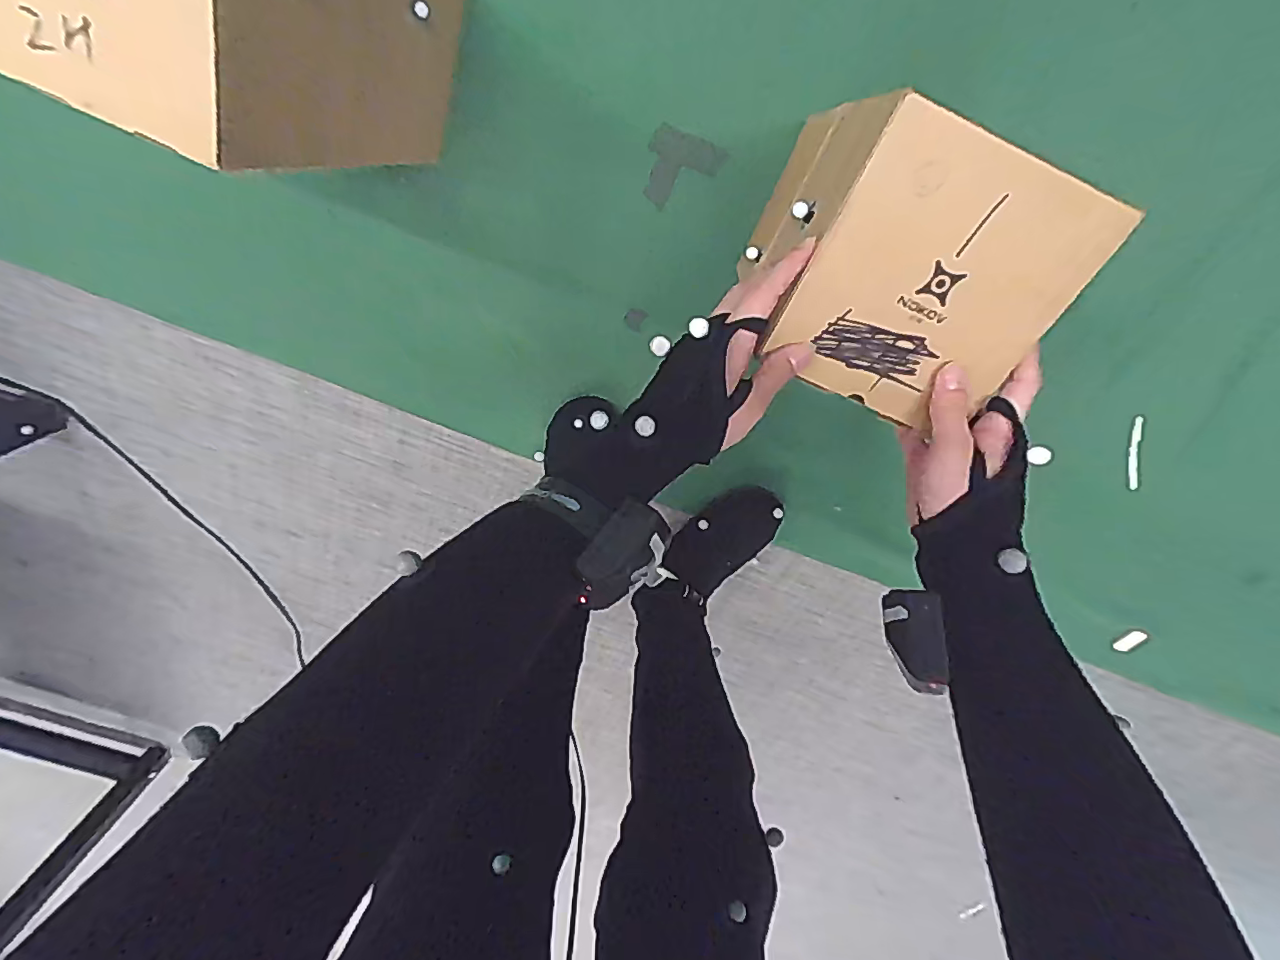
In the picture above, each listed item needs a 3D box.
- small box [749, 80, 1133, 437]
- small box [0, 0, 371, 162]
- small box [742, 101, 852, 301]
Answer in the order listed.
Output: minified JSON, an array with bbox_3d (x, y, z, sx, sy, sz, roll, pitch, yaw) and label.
[{"bbox_3d":[0.197,-0.169,0.422,0.168,0.176,0.179,22,122,-7],"label":"small box"},{"bbox_3d":[-0.312,-0.351,0.376,0.168,0.176,0.179,23,122,-6],"label":"small box"},{"bbox_3d":[0.215,-0.256,0.560,0.168,0.176,0.179,22,123,-7],"label":"small box"}]
